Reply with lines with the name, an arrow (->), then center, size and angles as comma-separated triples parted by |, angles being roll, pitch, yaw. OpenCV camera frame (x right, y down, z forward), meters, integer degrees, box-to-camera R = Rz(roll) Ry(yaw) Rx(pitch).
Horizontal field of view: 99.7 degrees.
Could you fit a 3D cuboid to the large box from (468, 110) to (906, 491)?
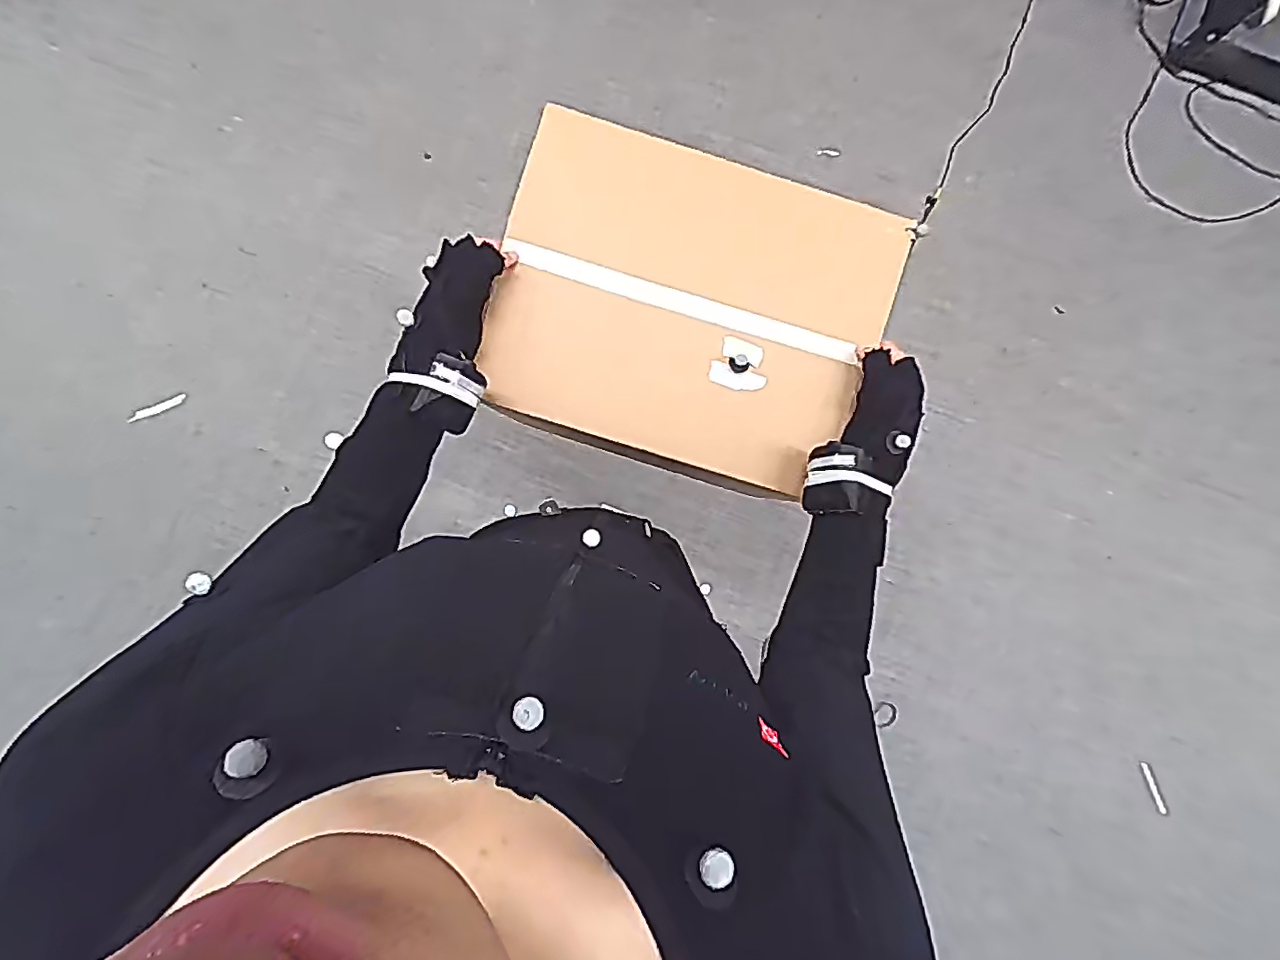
large box -> 0.046, -0.186, 0.712 | 0.408, 0.320, 0.320 | 17, 90, -2
